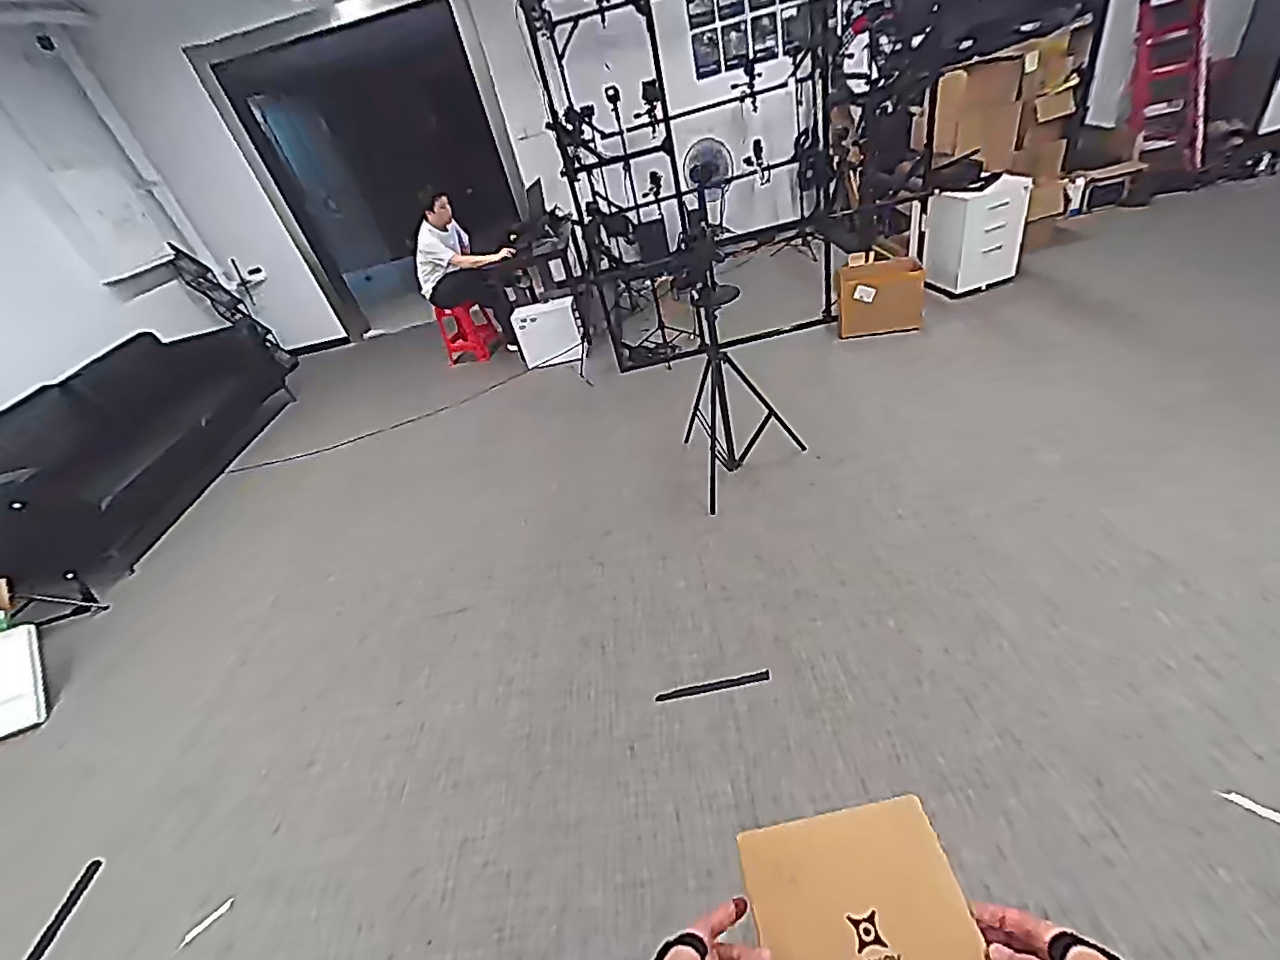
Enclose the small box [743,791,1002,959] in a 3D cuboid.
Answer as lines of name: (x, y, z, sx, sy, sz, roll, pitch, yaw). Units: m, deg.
small box: (0.191, 0.402, 0.465, 0.168, 0.176, 0.179, -13, 45, 0)
